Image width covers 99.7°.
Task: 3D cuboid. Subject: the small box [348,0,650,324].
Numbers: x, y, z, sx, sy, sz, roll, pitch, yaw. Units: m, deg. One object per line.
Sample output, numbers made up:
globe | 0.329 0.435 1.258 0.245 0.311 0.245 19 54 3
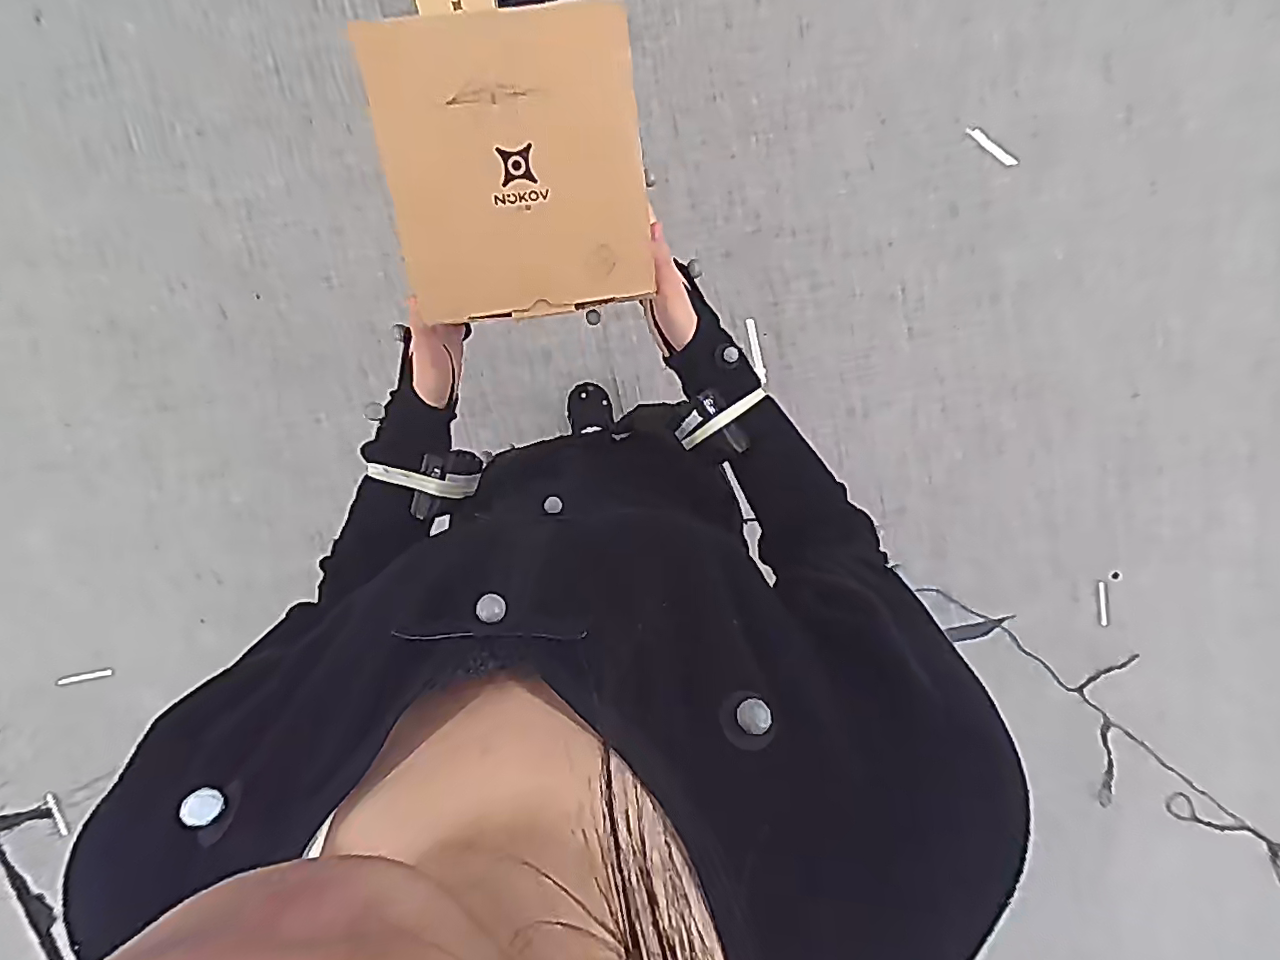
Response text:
small box | -0.090 -0.226 0.425 0.168 0.176 0.179 -10 108 -4
